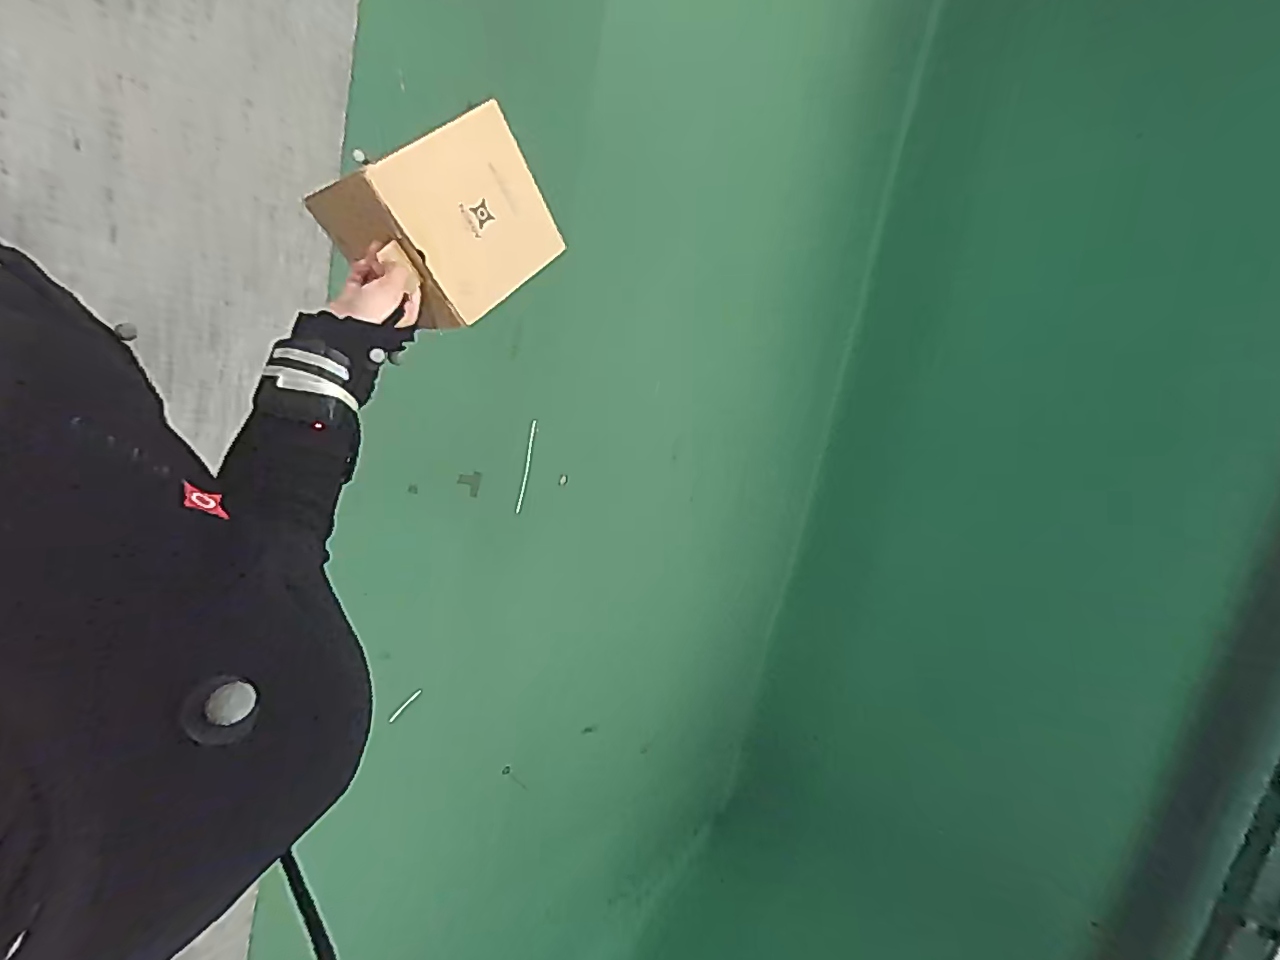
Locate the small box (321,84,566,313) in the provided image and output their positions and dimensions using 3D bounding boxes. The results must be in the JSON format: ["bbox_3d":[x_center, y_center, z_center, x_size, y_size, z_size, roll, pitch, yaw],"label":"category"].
[{"bbox_3d":[-0.225,-0.305,0.615,0.179,0.176,0.168,-51,135,-26],"label":"small box"}]
